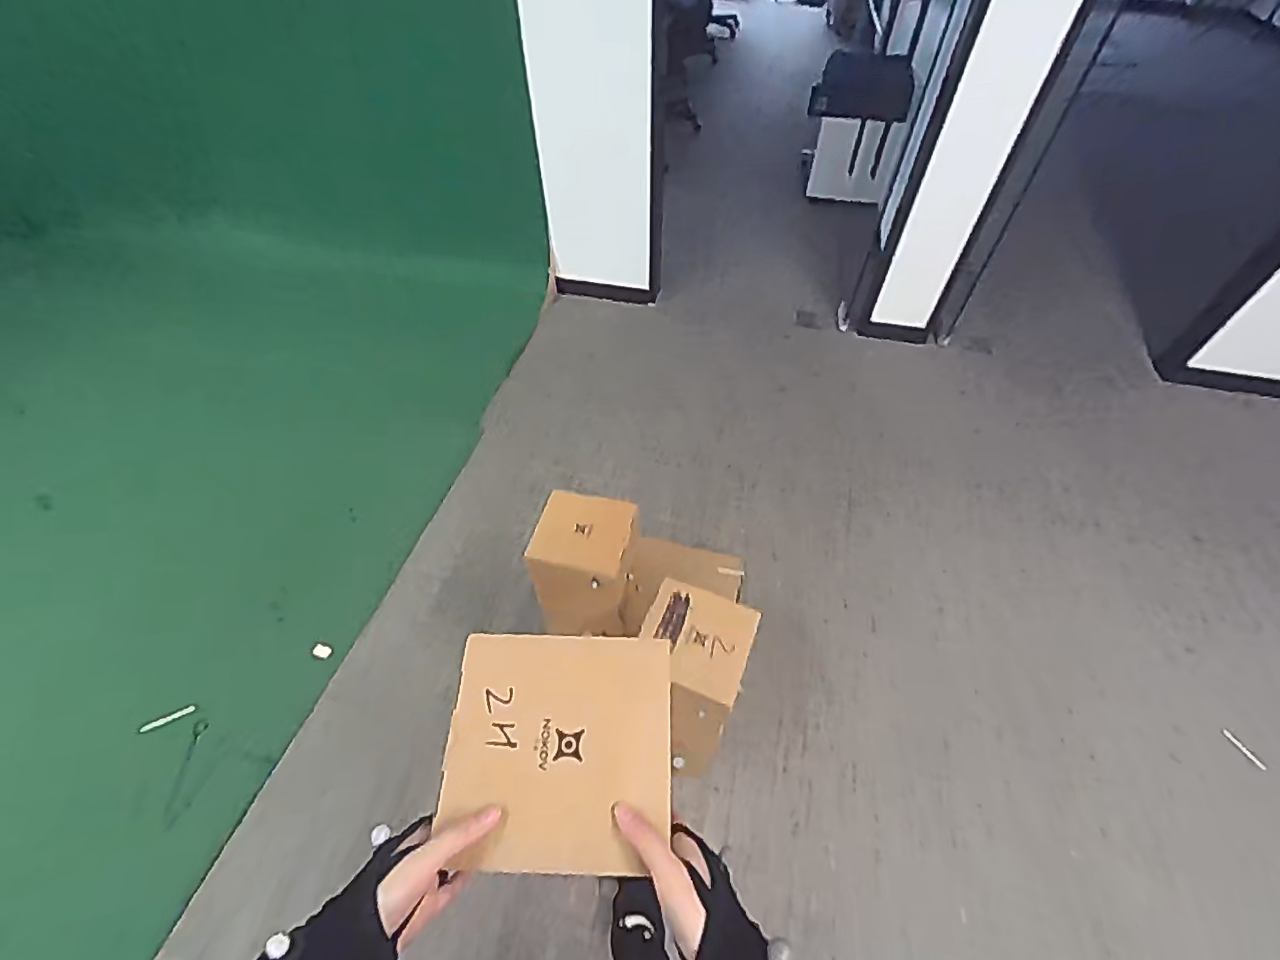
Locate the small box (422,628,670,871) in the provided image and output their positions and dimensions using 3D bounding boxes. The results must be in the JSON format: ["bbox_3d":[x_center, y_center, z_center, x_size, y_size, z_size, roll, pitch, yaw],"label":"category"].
[{"bbox_3d":[-0.066,0.242,0.492,0.179,0.176,0.168,2,59,2],"label":"small box"}]

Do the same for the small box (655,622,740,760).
[{"bbox_3d":[0.086,0.413,1.056,0.168,0.176,0.179,15,51,12],"label":"small box"}]

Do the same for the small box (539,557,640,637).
[{"bbox_3d":[-0.102,0.263,1.187,0.179,0.176,0.168,9,49,9],"label":"small box"}]

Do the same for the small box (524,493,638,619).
[{"bbox_3d":[-0.107,0.153,1.067,0.179,0.176,0.168,11,49,8],"label":"small box"}]
